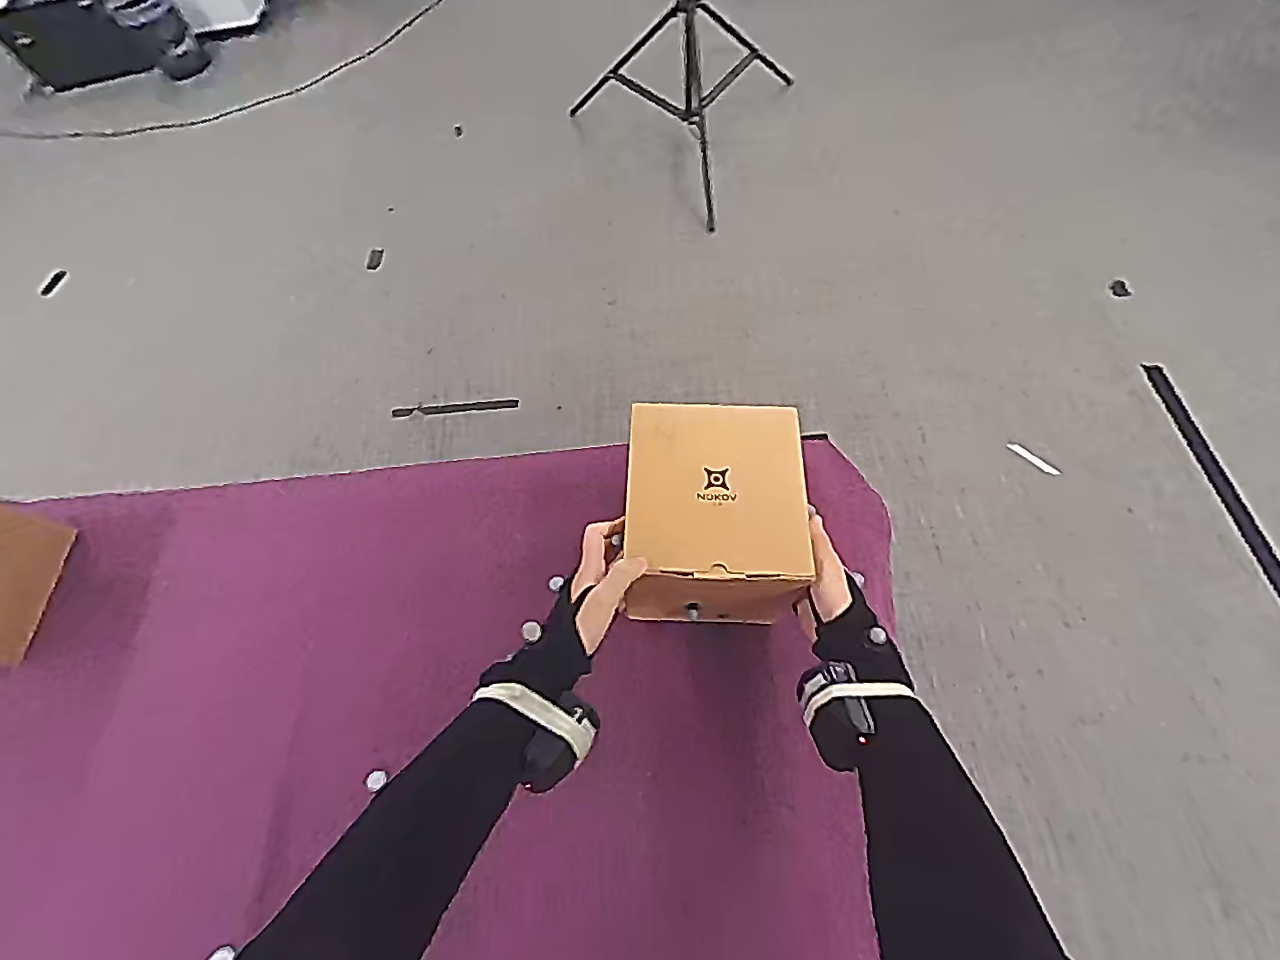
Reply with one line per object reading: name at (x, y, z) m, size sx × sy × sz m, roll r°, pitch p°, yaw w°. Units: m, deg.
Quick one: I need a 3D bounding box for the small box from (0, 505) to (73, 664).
small box at (-0.835, 0.113, 0.625) m, size 0.168 × 0.176 × 0.179 m, roll -2°, pitch 67°, yaw 4°

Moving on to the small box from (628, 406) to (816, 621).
small box at (0.073, 0.042, 0.574) m, size 0.168 × 0.176 × 0.179 m, roll 1°, pitch 64°, yaw 1°
